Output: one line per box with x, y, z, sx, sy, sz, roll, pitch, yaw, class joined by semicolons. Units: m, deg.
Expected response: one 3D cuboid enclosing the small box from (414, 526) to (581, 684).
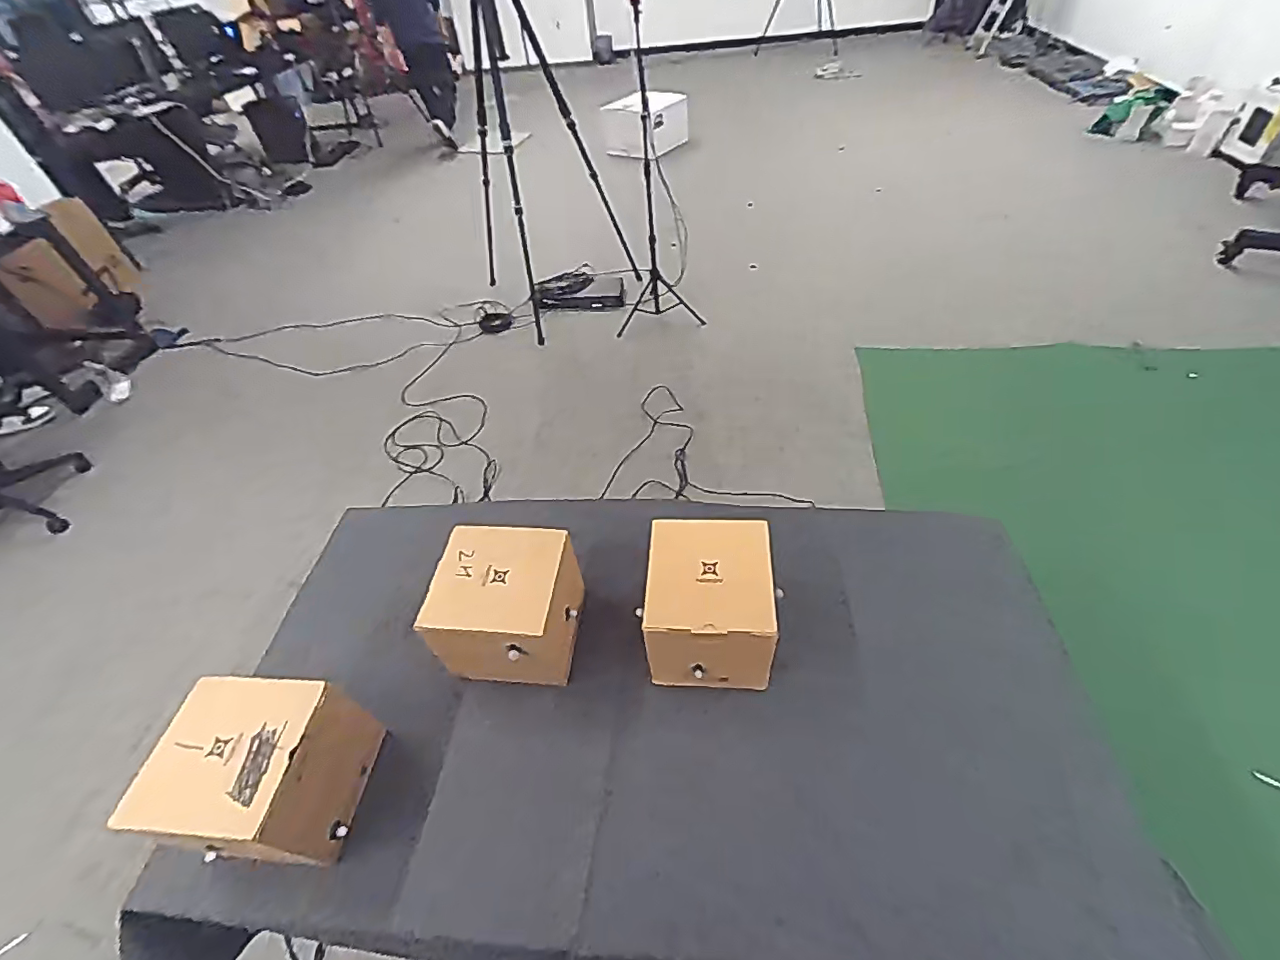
-0.192;0.187;0.797;0.179;0.176;0.168;2;48;8;small box

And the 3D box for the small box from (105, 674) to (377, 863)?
-0.463;0.358;0.668;0.179;0.176;0.168;1;47;7;small box

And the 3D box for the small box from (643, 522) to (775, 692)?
0.097;0.182;0.778;0.168;0.176;0.179;1;48;6;small box
